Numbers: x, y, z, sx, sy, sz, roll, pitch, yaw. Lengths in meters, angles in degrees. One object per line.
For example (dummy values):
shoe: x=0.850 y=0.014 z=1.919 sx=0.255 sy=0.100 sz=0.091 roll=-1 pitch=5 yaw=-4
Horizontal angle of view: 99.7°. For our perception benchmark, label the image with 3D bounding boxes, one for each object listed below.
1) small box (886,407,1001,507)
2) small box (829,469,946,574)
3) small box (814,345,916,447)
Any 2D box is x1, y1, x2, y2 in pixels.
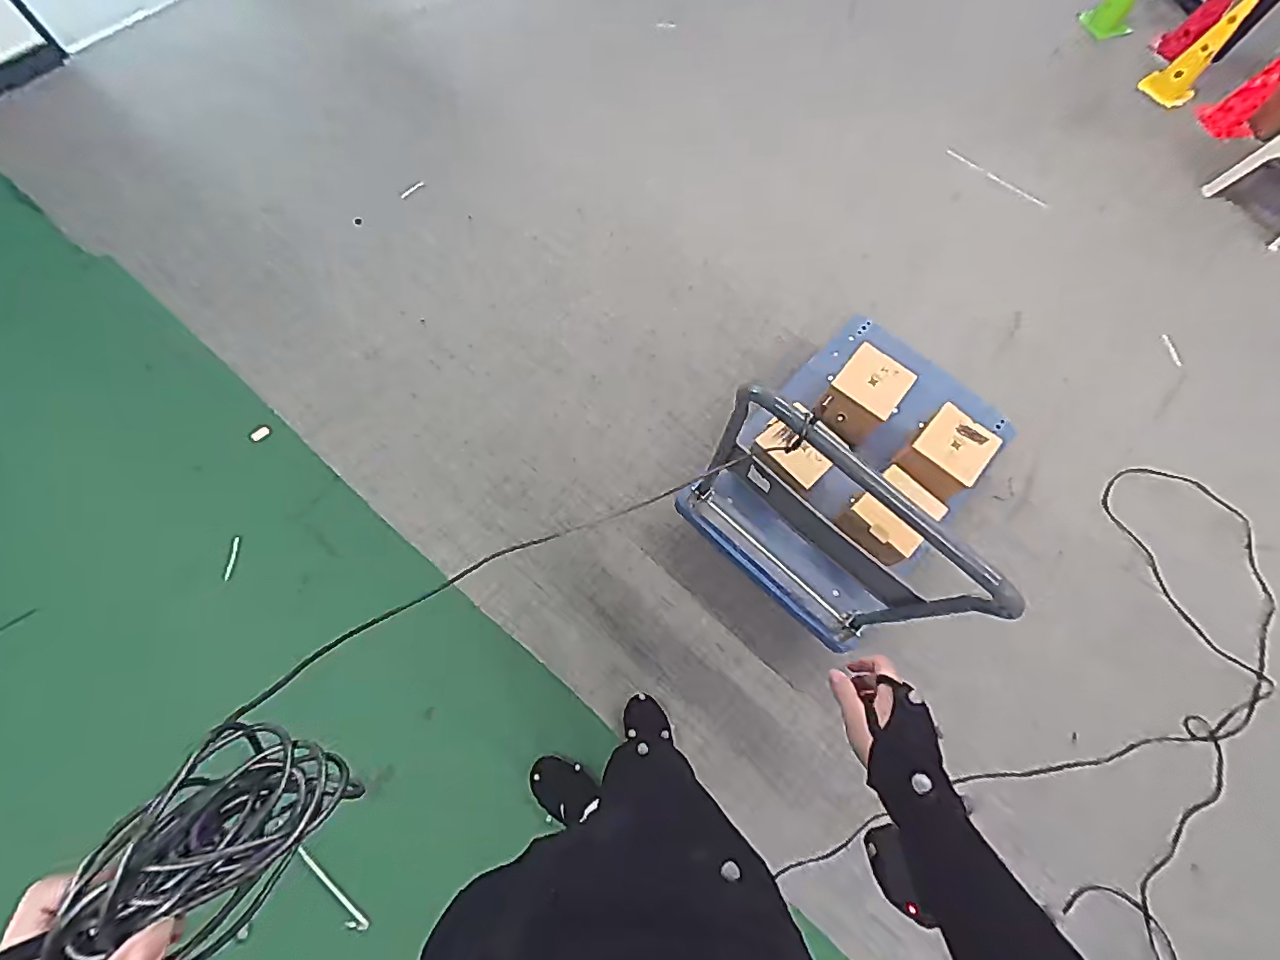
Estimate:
small box: x=0.781 y=-0.052 z=1.412 sx=0.168 sy=0.176 sz=0.179 roll=41 pitch=73 yaw=12
small box: x=0.603 y=0.109 z=1.343 sx=0.179 sy=0.176 sz=0.168 roll=-42 pitch=77 yaw=-16
small box: x=0.597 y=-0.220 z=1.465 sx=0.168 sy=0.176 sz=0.179 roll=39 pitch=72 yaw=10
